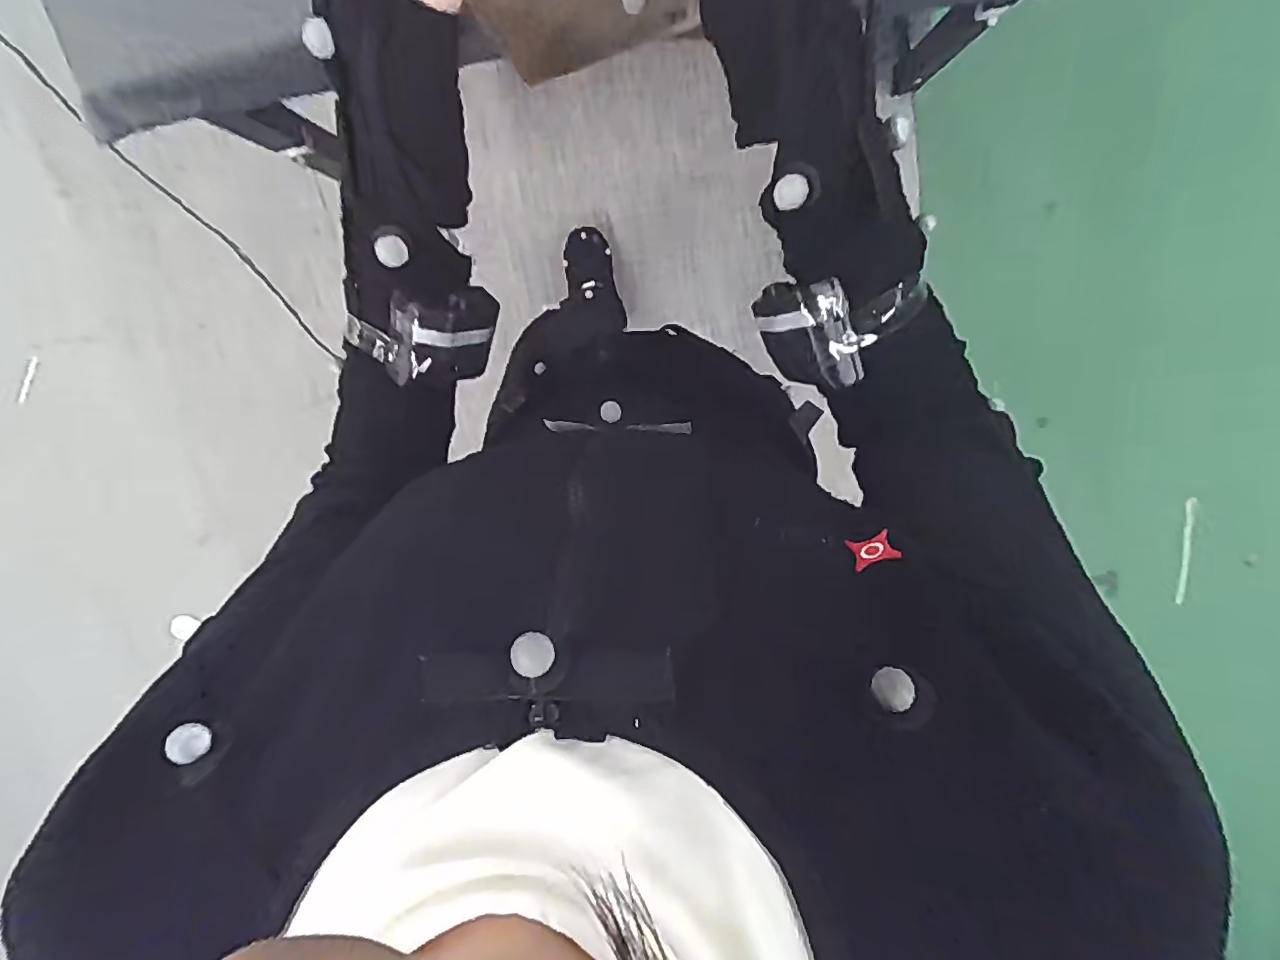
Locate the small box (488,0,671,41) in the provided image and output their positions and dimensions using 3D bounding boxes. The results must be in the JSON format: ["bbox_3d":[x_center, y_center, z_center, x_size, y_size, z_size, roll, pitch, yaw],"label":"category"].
[{"bbox_3d":[-0.030,-0.354,0.255,0.168,0.176,0.179,-13,105,10],"label":"small box"}]
